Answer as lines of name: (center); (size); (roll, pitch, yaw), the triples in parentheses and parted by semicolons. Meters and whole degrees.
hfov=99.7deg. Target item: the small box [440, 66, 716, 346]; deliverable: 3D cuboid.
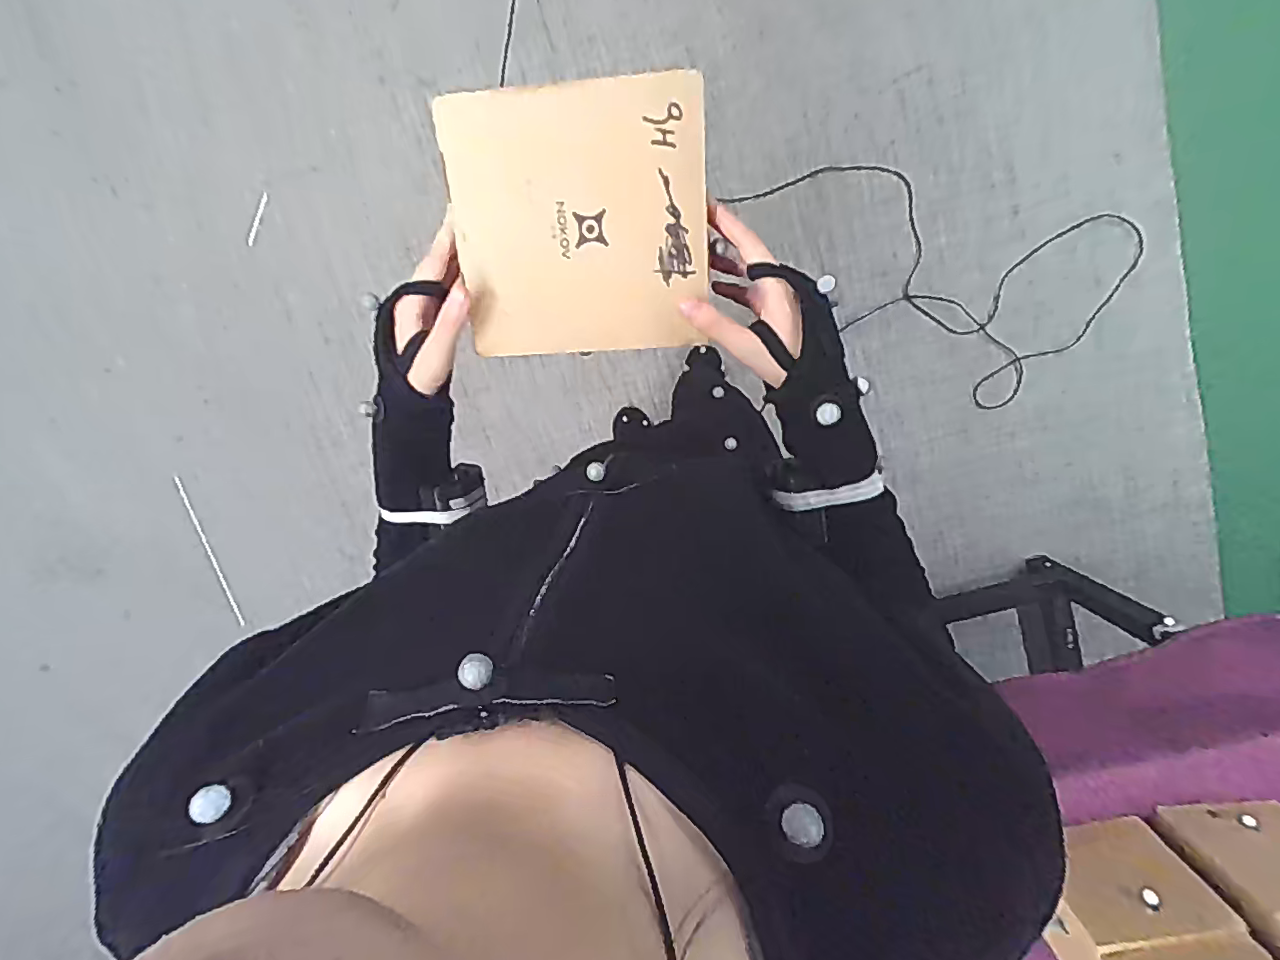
small box: (-0.032, -0.202, 0.434); (0.179, 0.176, 0.168); (-1, 112, 4)
